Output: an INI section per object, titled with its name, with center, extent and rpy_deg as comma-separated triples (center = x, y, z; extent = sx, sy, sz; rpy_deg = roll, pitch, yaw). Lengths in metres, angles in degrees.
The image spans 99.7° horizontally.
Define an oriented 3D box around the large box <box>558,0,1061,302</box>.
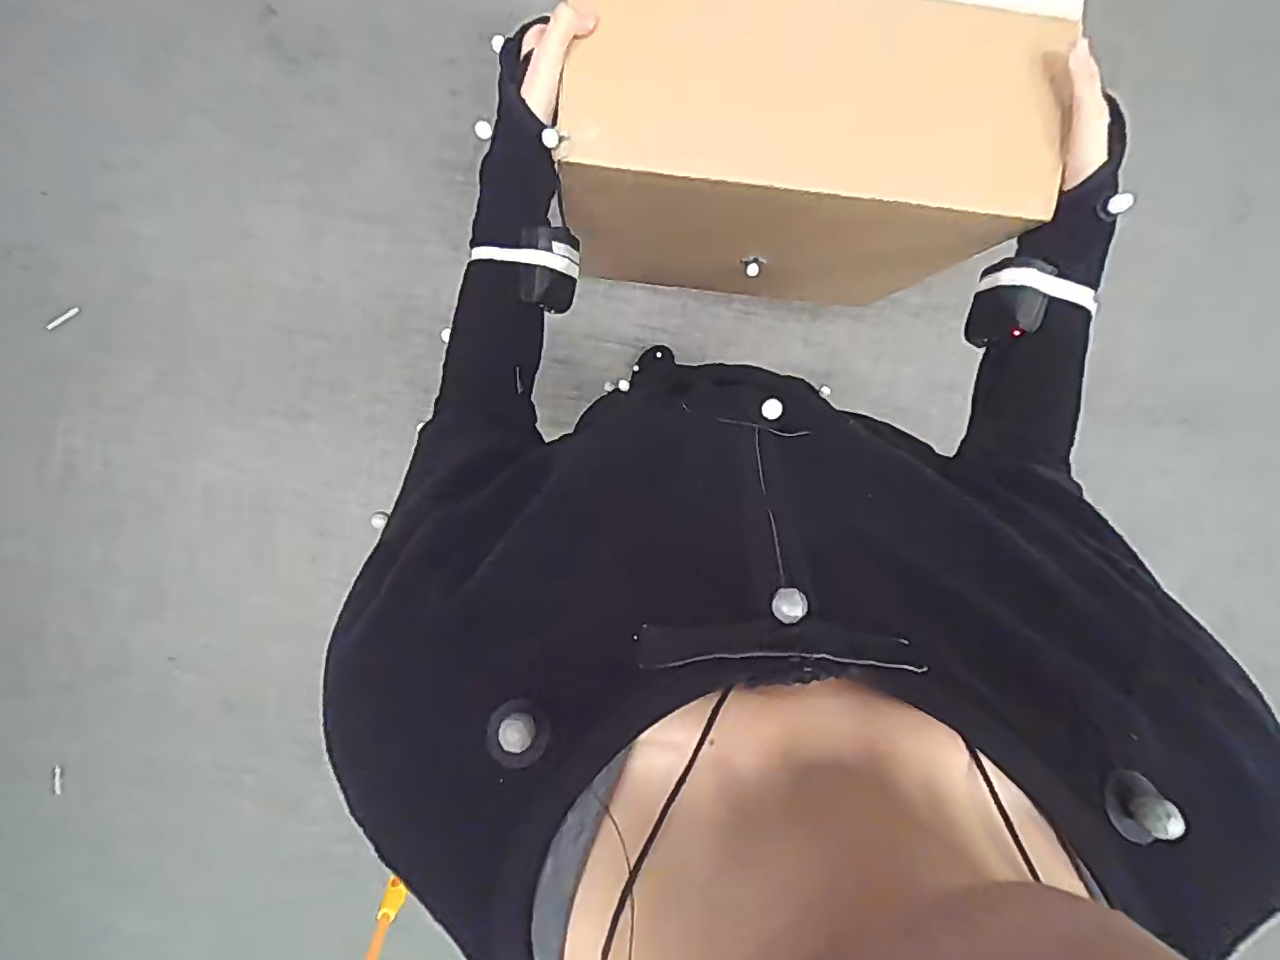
[large box]
center = 0.132, -0.390, 0.575
extent = 0.408, 0.320, 0.320
rpy_deg = 4, 94, -5
